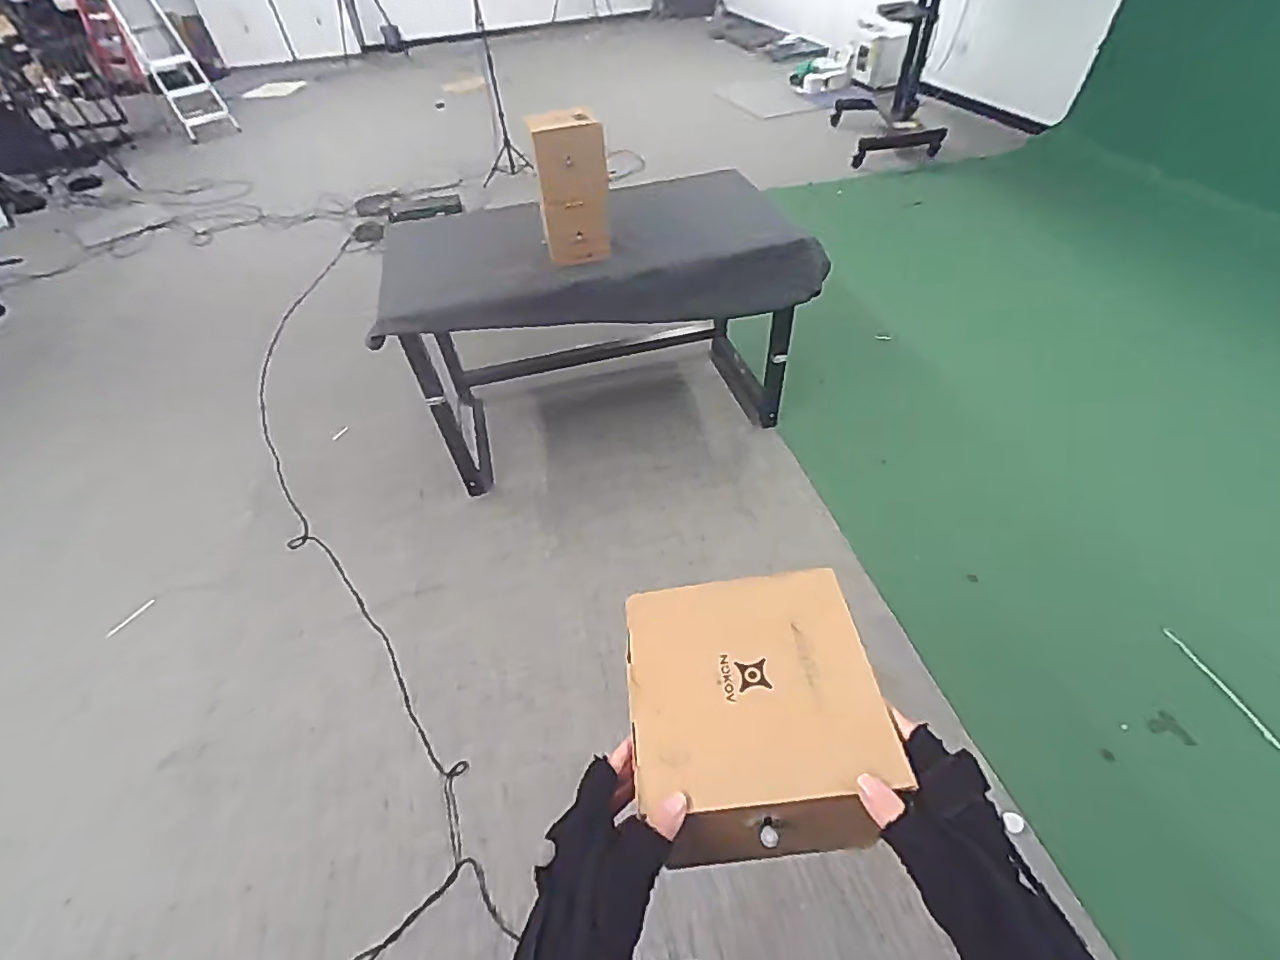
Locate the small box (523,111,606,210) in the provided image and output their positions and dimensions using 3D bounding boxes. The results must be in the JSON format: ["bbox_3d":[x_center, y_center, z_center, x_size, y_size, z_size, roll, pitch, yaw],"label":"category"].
[{"bbox_3d":[-0.189,-0.822,1.393,0.179,0.176,0.168,-14,47,-5],"label":"small box"}]

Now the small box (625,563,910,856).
[{"bbox_3d":[0.091,0.196,0.453,0.179,0.176,0.168,-10,46,2],"label":"small box"}]

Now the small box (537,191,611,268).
[{"bbox_3d":[-0.183,-0.711,1.515,0.168,0.176,0.179,-13,48,-6],"label":"small box"}]
